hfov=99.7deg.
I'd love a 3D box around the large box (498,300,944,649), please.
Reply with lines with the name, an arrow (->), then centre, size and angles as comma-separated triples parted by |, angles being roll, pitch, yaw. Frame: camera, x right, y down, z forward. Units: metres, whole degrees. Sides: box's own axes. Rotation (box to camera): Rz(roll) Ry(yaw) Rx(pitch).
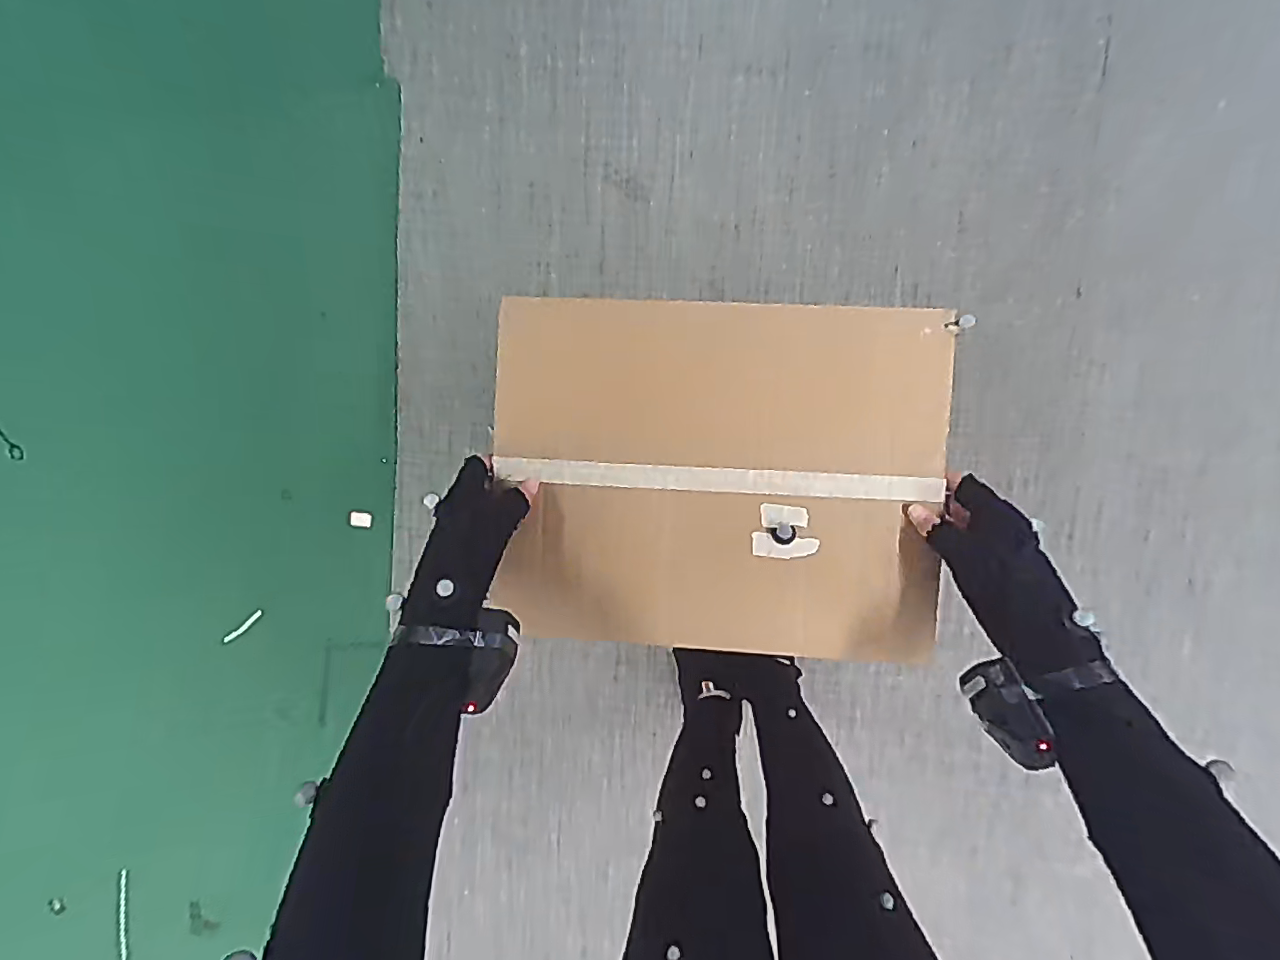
large box -> 0.076, -0.009, 0.644 | 0.408, 0.320, 0.320 | 3, 92, 4
